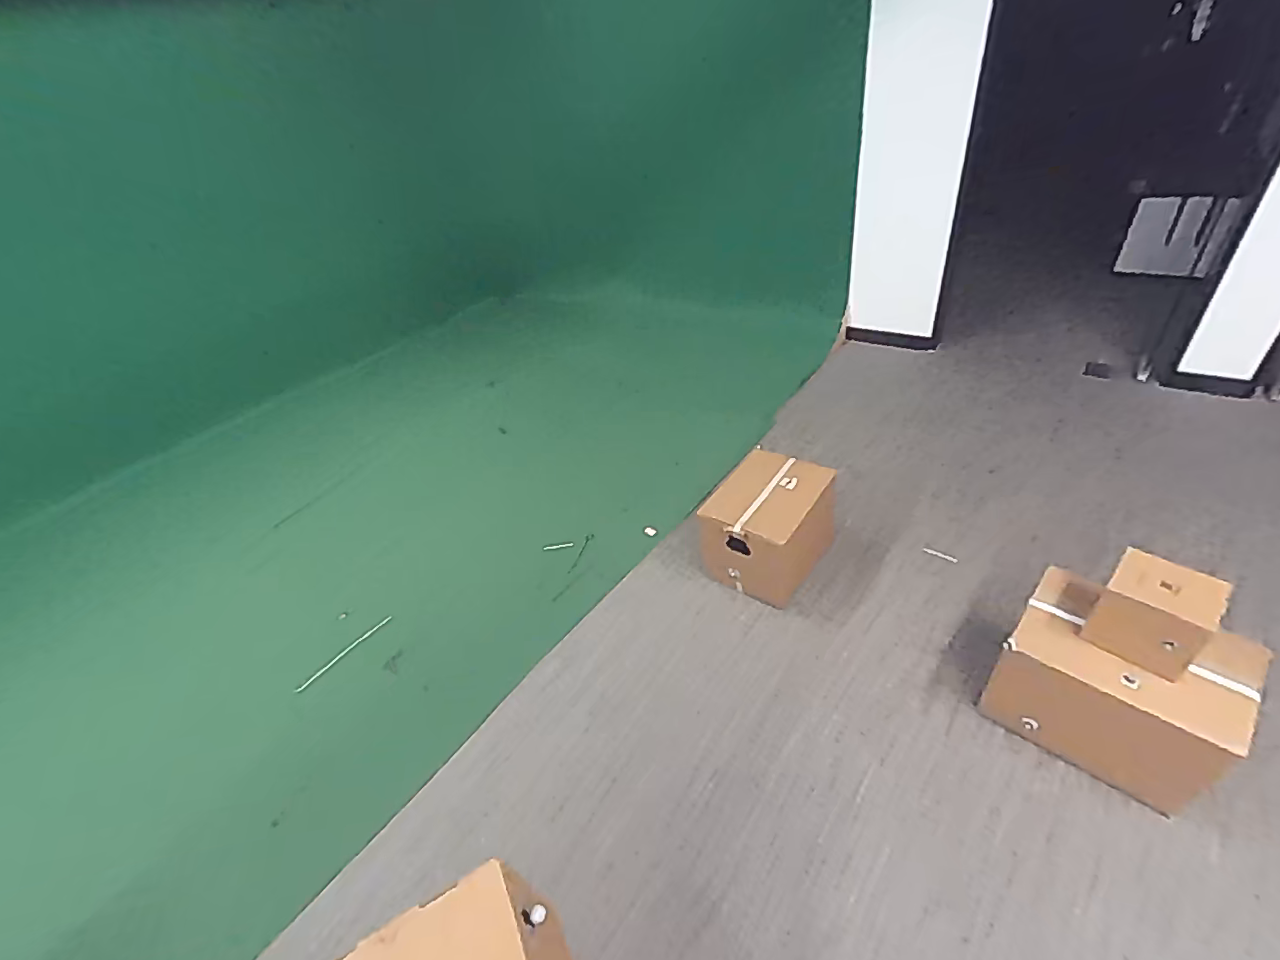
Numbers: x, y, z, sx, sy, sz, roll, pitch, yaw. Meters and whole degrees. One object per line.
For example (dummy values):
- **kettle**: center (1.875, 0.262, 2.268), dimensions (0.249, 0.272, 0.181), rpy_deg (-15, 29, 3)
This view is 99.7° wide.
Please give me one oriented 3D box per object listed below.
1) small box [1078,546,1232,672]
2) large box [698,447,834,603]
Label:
- **small box**: center (1.102, 0.283, 1.167), dimensions (0.168, 0.176, 0.179), rpy_deg (-33, 43, -29)
- **large box**: center (0.446, 0.147, 1.886), dimensions (0.320, 0.320, 0.408), rpy_deg (21, 48, 34)
